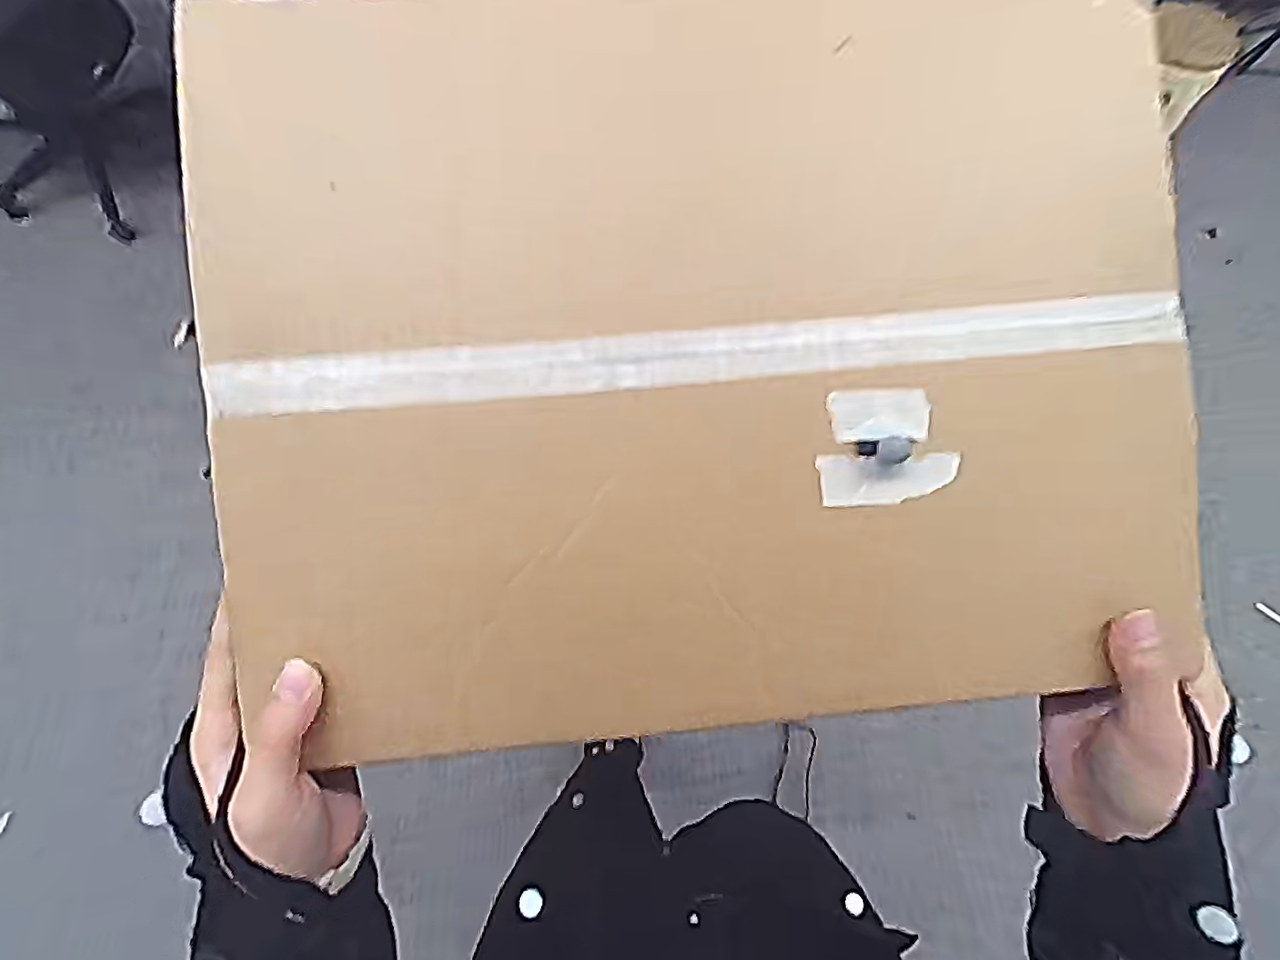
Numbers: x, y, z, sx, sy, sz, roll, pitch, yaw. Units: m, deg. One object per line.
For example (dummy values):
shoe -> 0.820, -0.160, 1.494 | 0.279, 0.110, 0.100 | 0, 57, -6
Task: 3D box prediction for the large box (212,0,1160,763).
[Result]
large box -> 0.020, -0.051, 0.387 | 0.408, 0.320, 0.320 | -5, 91, -3
